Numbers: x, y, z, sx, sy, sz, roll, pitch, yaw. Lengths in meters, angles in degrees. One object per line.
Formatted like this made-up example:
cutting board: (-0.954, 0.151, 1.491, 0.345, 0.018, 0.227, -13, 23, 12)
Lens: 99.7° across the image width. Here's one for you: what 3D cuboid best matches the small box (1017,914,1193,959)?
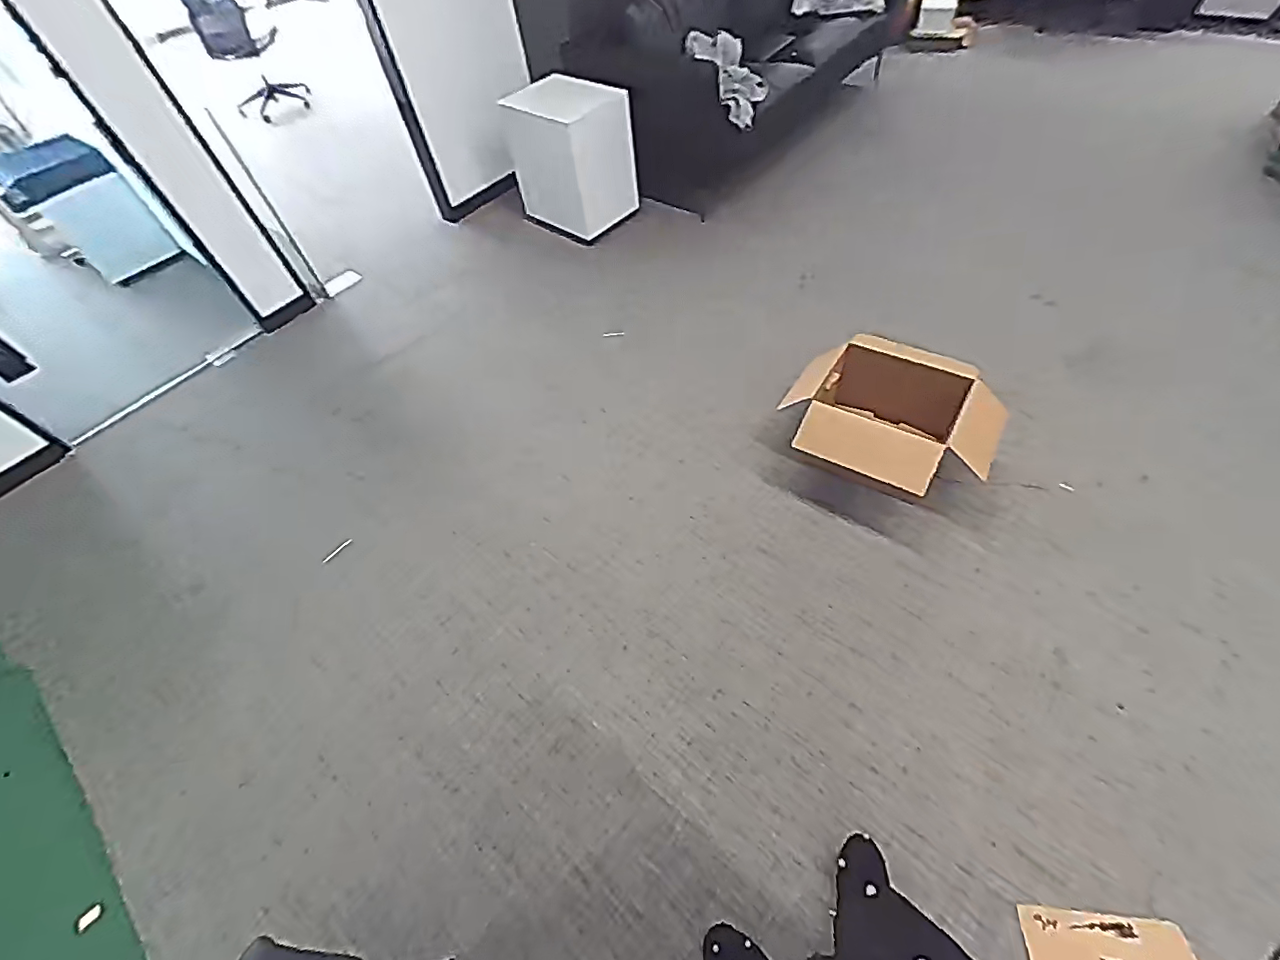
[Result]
small box: (0.535, 0.634, 0.586, 0.168, 0.179, 0.176, -11, 89, 27)
